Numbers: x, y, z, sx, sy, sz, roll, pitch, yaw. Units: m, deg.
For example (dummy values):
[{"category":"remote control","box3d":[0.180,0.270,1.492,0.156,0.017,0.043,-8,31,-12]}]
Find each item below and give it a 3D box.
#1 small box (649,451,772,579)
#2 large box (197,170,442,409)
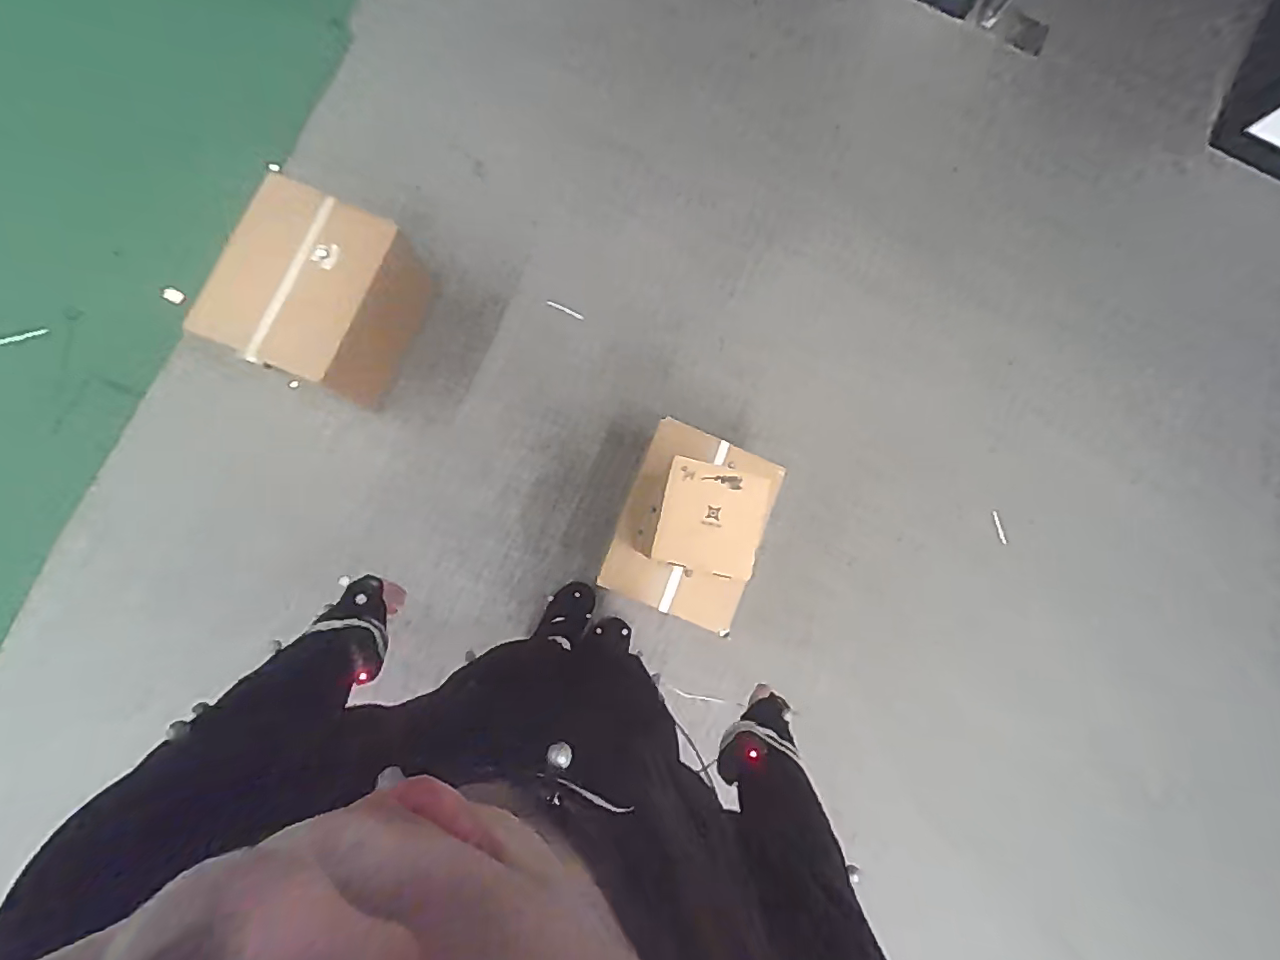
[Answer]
[{"category":"small box","box3d":[0.114,0.063,0.951,0.168,0.176,0.179,15,85,-2]},{"category":"large box","box3d":[-0.754,-0.442,1.337,0.320,0.320,0.408,23,82,-2]}]
